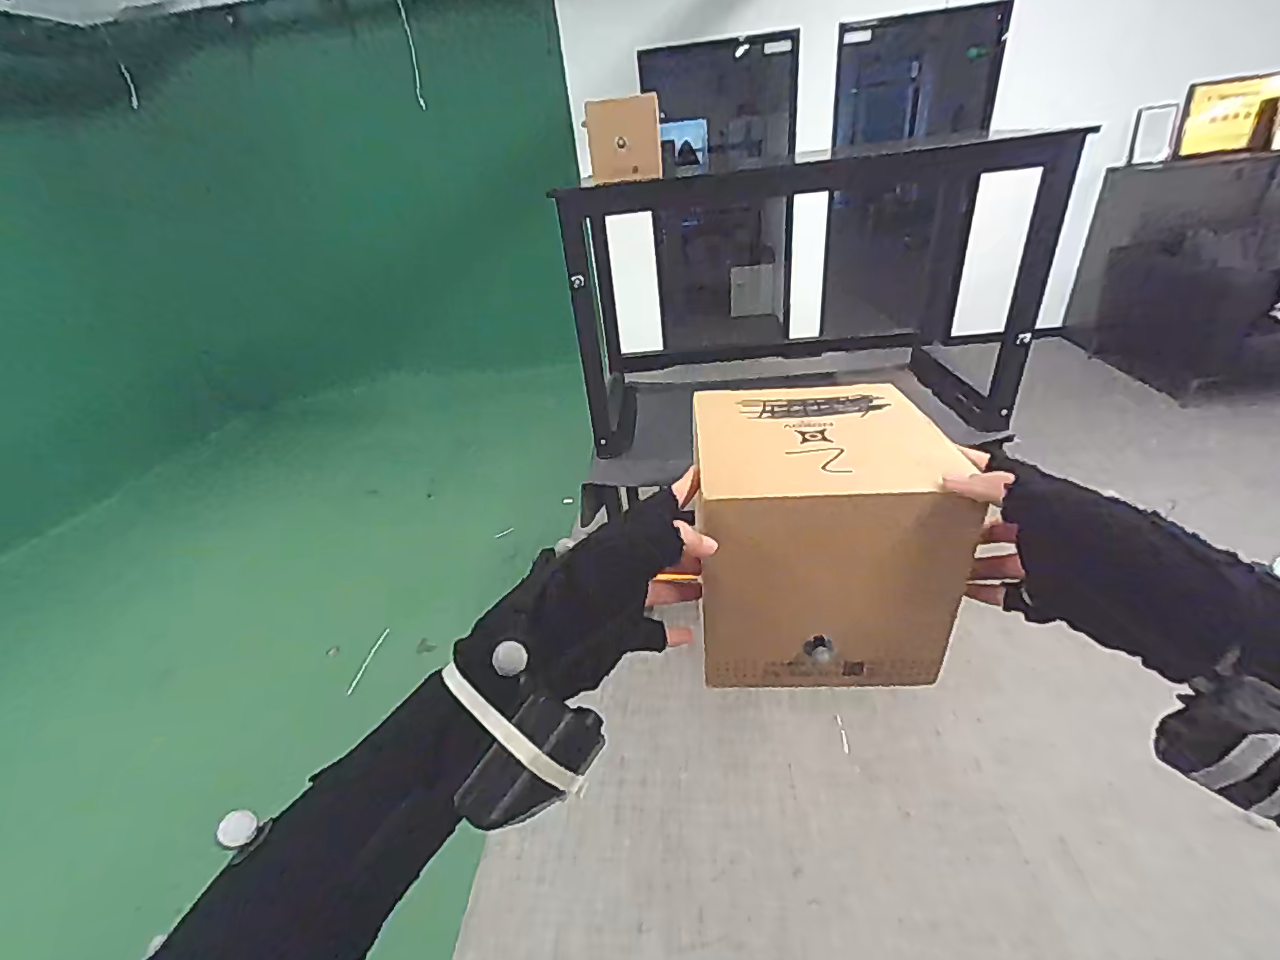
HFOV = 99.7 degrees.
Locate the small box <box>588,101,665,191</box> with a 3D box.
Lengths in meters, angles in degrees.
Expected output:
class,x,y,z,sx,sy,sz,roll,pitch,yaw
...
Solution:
class,x,y,z,sx,sy,sz,roll,pitch,yaw
small box,-0.025,-0.816,1.332,0.168,0.176,0.179,-3,31,5
